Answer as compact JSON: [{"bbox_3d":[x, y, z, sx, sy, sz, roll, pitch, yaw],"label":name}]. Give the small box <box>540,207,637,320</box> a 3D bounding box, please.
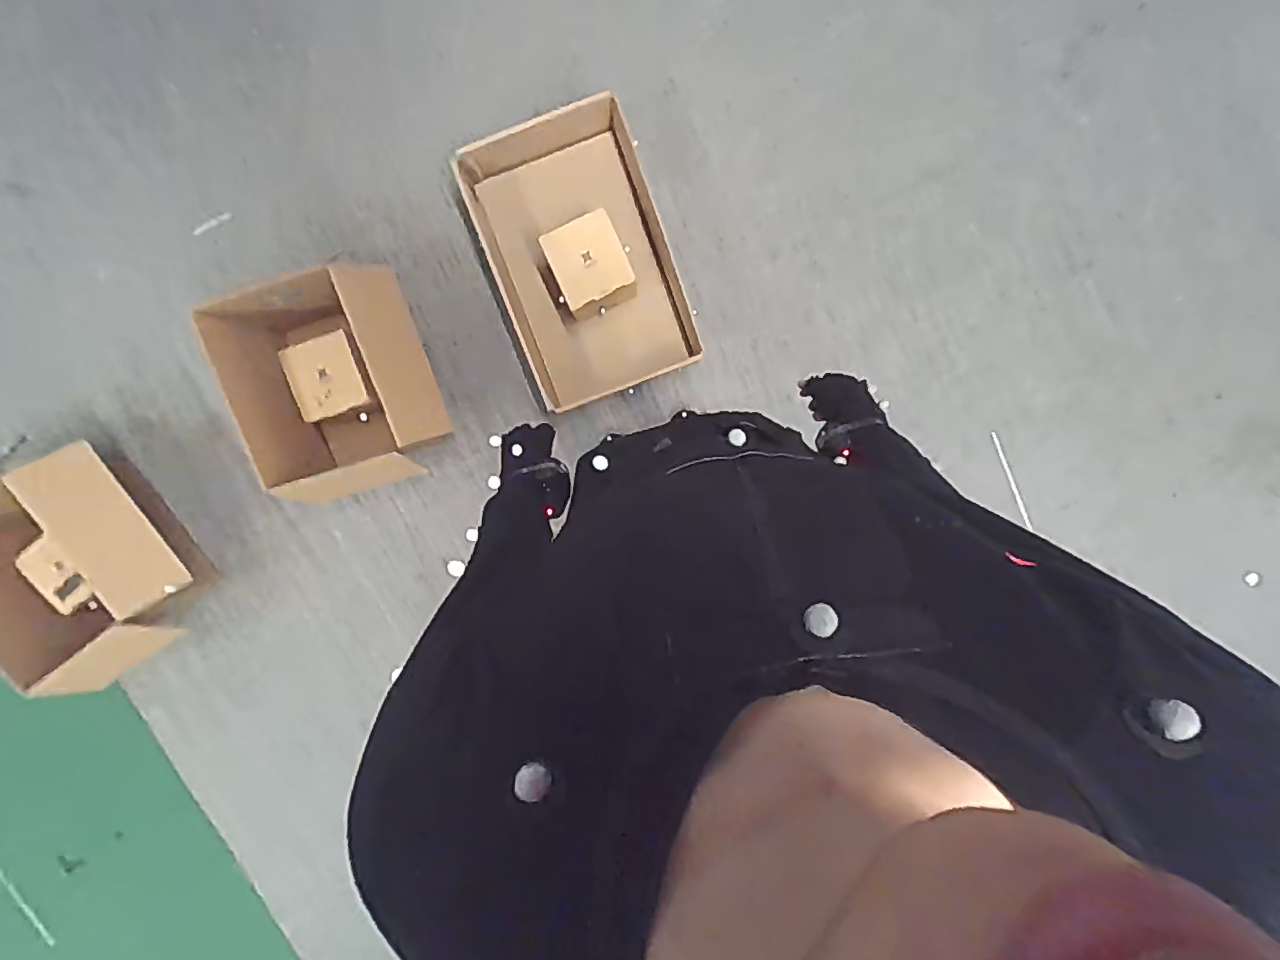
[{"bbox_3d":[-0.118,-0.501,1.278,0.168,0.176,0.179,-25,97,2],"label":"small box"}]
